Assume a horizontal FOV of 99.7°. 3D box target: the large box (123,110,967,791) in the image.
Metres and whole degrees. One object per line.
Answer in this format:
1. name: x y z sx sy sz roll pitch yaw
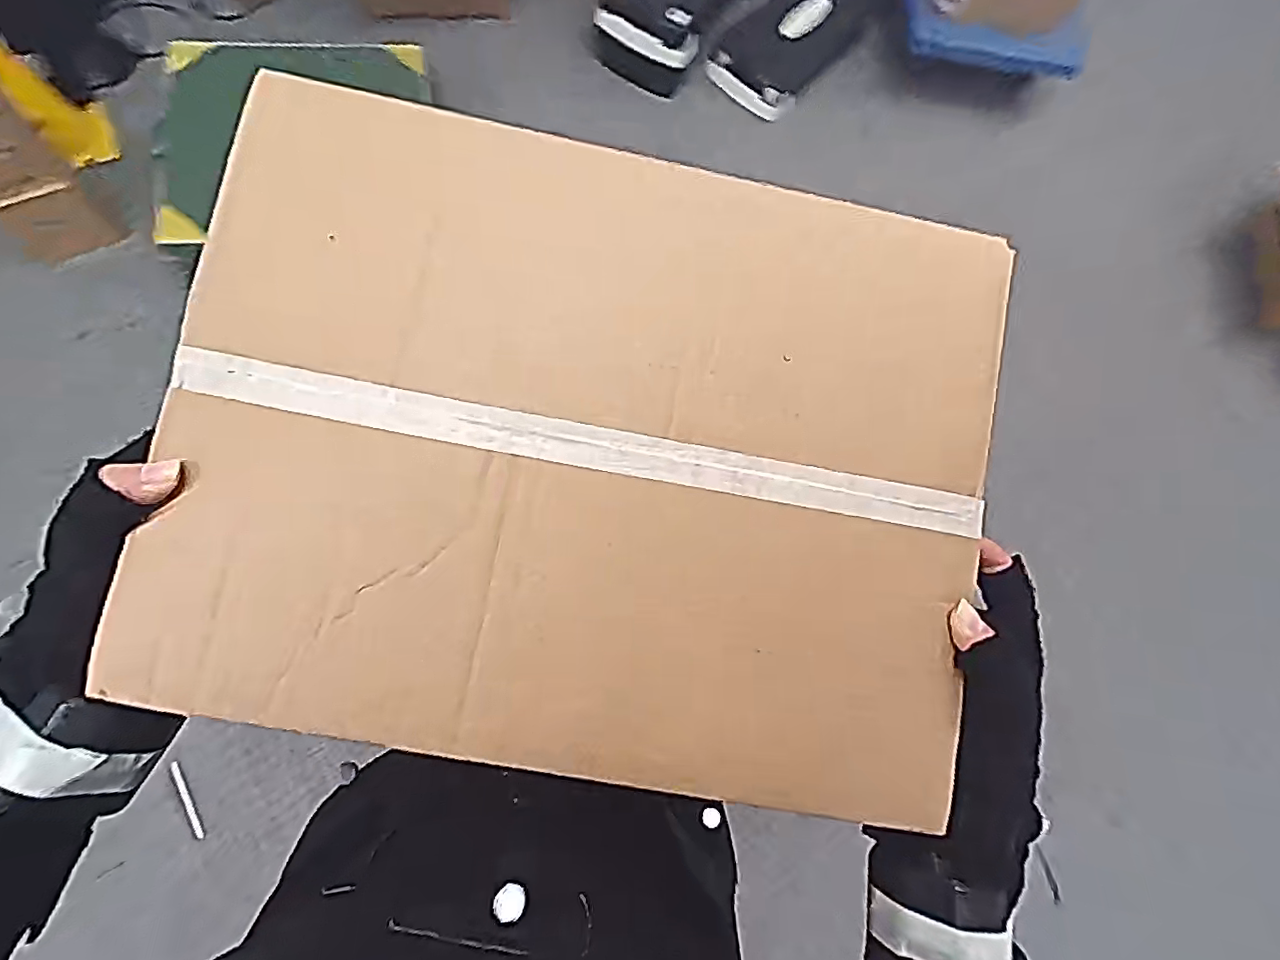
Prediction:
1. large box: -0.039 -0.004 0.430 0.408 0.320 0.320 10 83 -4
